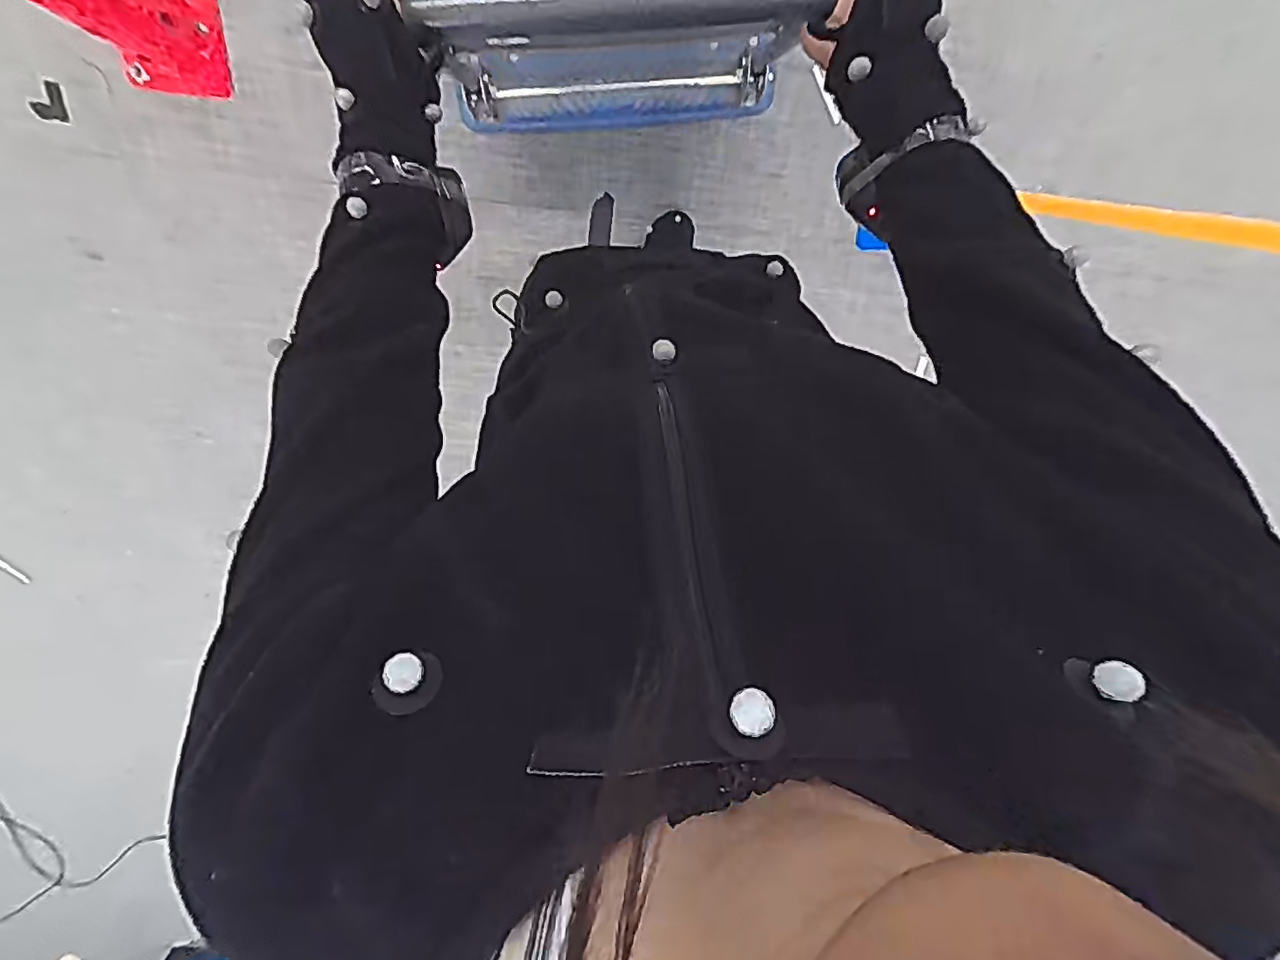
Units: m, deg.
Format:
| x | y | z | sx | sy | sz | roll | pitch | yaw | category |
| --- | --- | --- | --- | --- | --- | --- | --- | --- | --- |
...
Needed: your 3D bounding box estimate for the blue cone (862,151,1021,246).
| x | y | z | sx | sy | sz | roll | pitch | yaw | category |
| --- | --- | --- | --- | --- | --- | --- | --- | --- | --- |
| 0.617 | -0.568 | 1.083 | 0.193 | 0.380 | 0.192 | 1 | 115 | -4 | blue cone |
